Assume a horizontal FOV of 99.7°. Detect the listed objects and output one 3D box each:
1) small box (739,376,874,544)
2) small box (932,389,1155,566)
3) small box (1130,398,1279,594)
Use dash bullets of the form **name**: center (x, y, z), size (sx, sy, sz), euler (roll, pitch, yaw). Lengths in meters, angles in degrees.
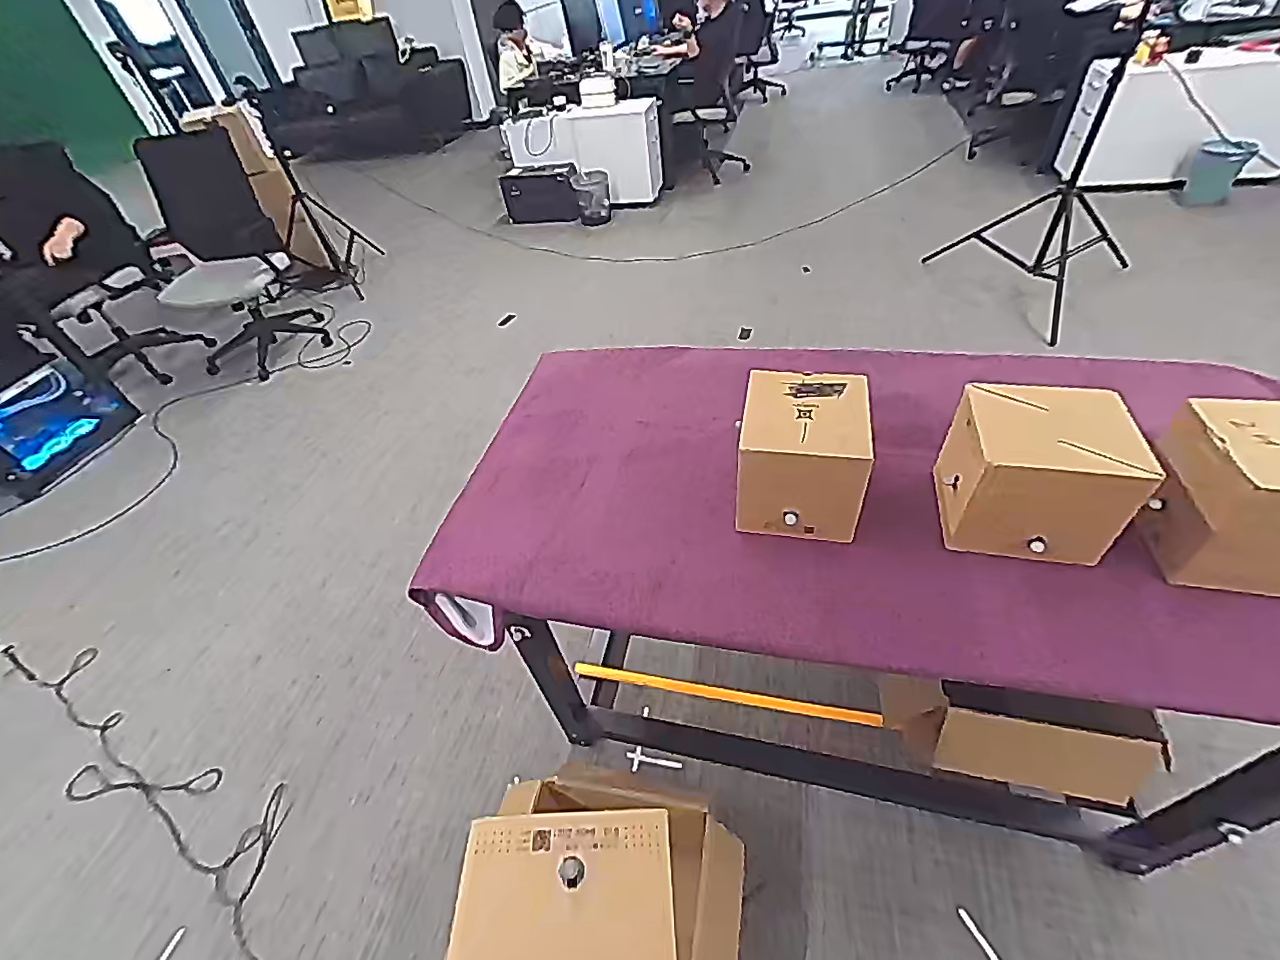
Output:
- **small box**: center (0.238, -0.031, 0.796), size (0.168, 0.176, 0.179), euler (5, 46, 14)
- **small box**: center (0.516, -0.010, 0.724), size (0.179, 0.176, 0.168), euler (5, 45, 15)
- **small box**: center (0.750, 0.022, 0.654), size (0.179, 0.176, 0.168), euler (6, 44, 15)
